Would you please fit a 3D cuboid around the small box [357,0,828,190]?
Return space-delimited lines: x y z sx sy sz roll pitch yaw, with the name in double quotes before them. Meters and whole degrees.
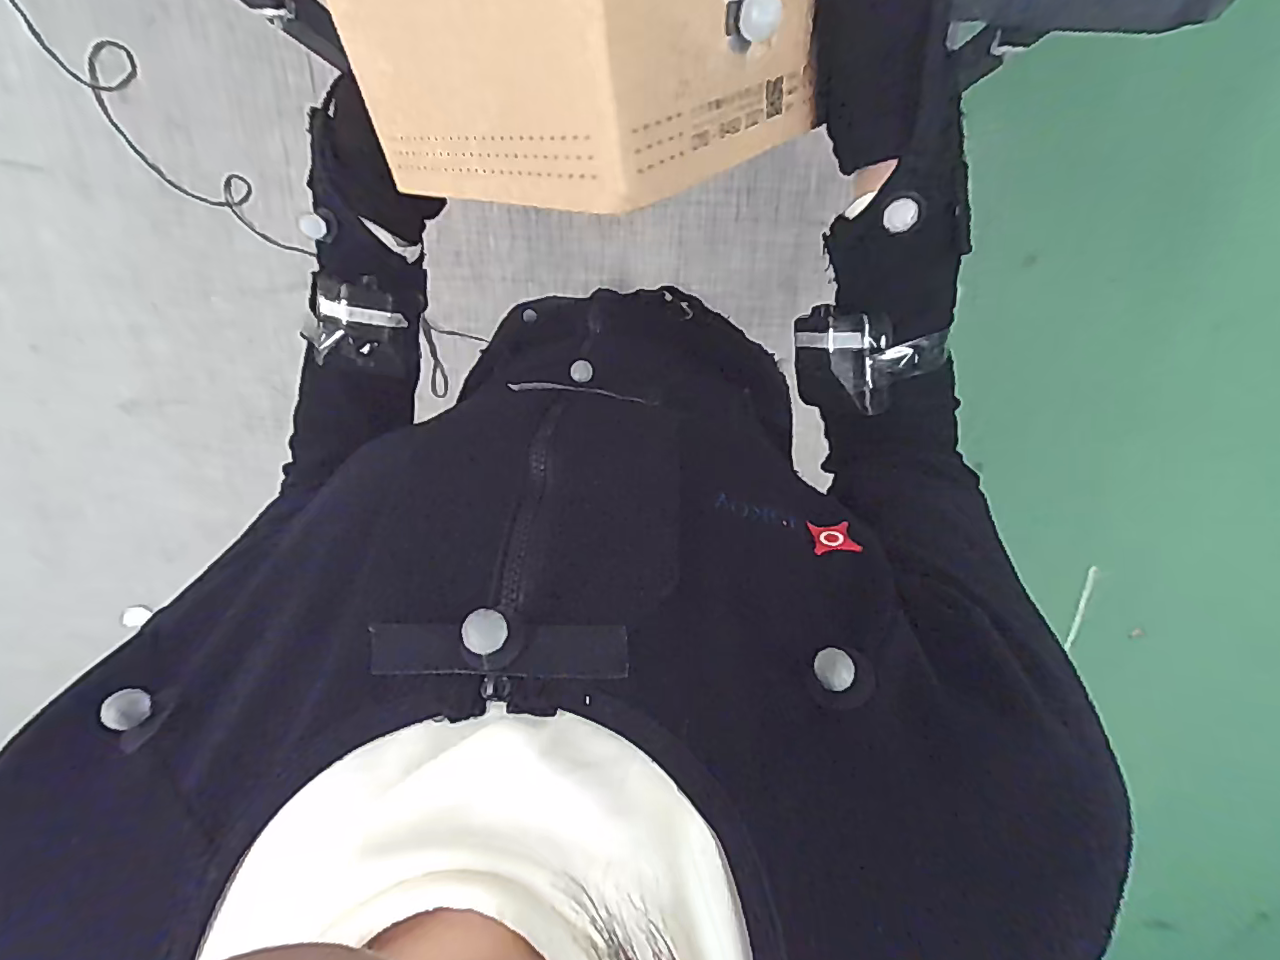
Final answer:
"small box" -0.026 -0.246 0.251 0.179 0.168 0.176 24 140 33
